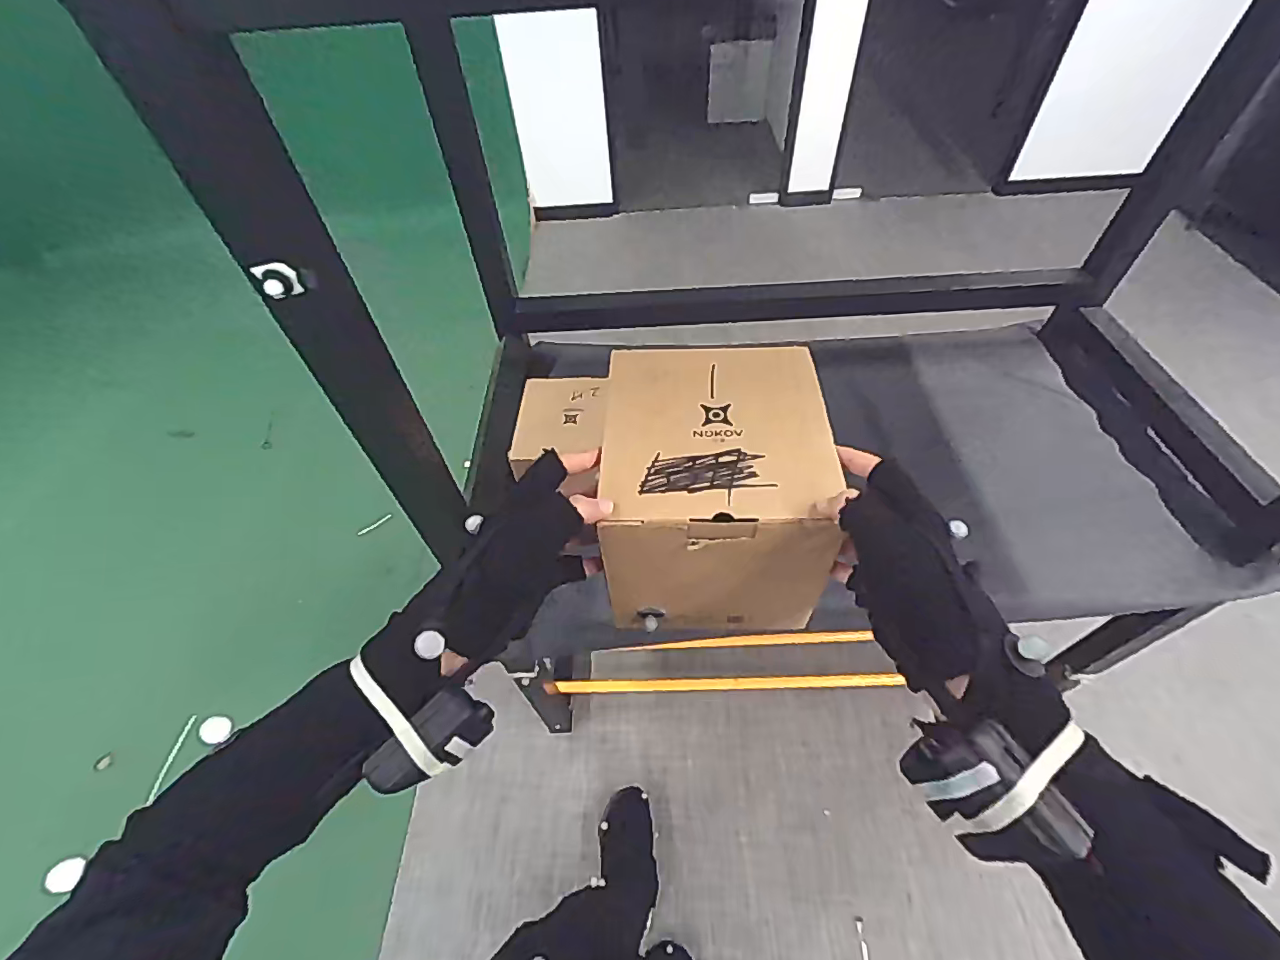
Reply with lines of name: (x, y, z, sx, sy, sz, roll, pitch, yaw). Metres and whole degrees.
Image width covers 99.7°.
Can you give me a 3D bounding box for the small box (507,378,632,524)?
small box: (-0.101, -0.043, 0.868, 0.168, 0.176, 0.179, 0, 51, 3)
